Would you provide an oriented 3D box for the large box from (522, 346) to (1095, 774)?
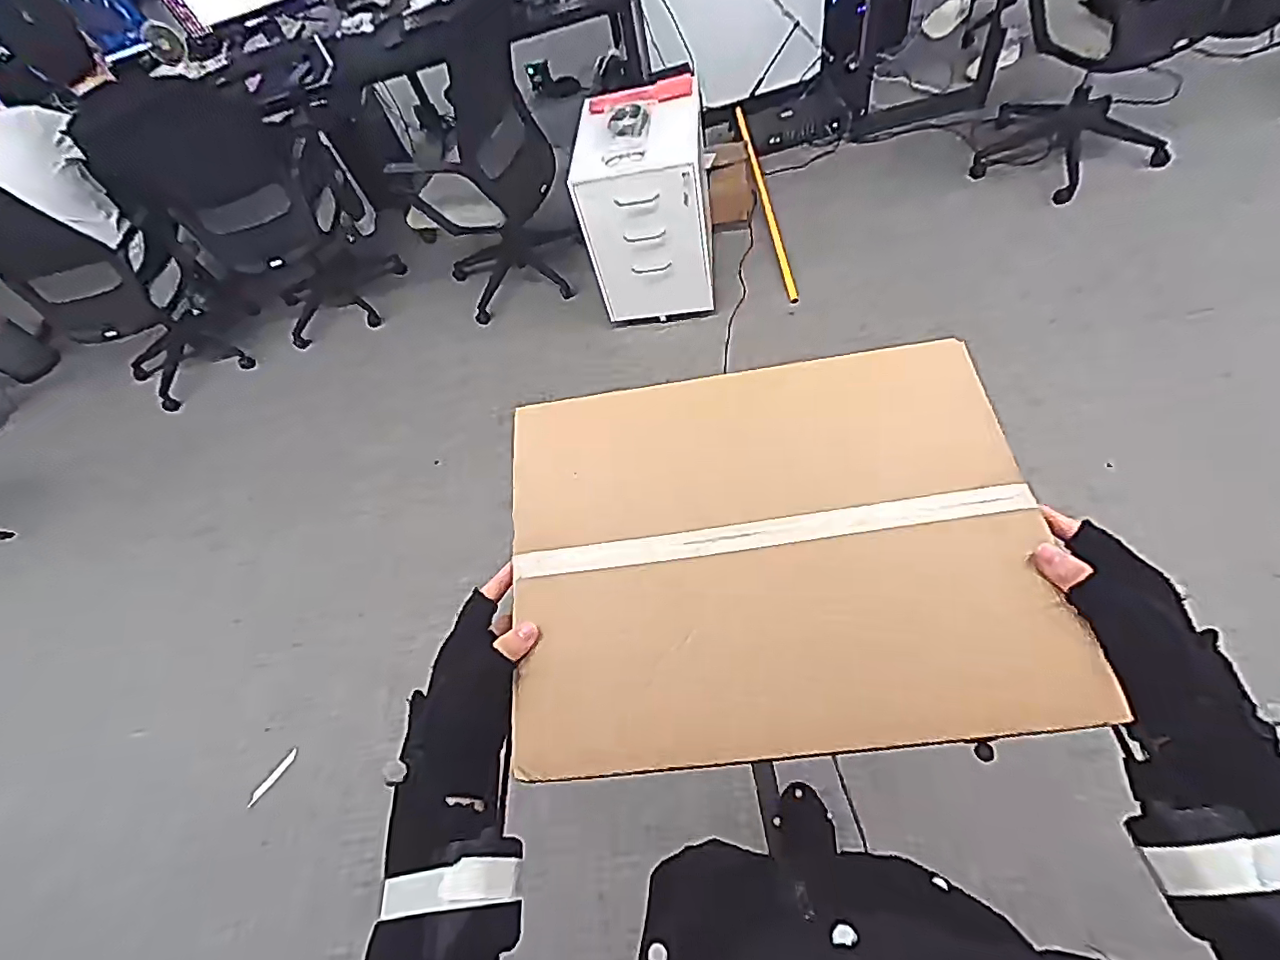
[{"bbox_3d":[0.121,0.106,0.575,0.408,0.320,0.320,-9,63,5],"label":"large box"}]
